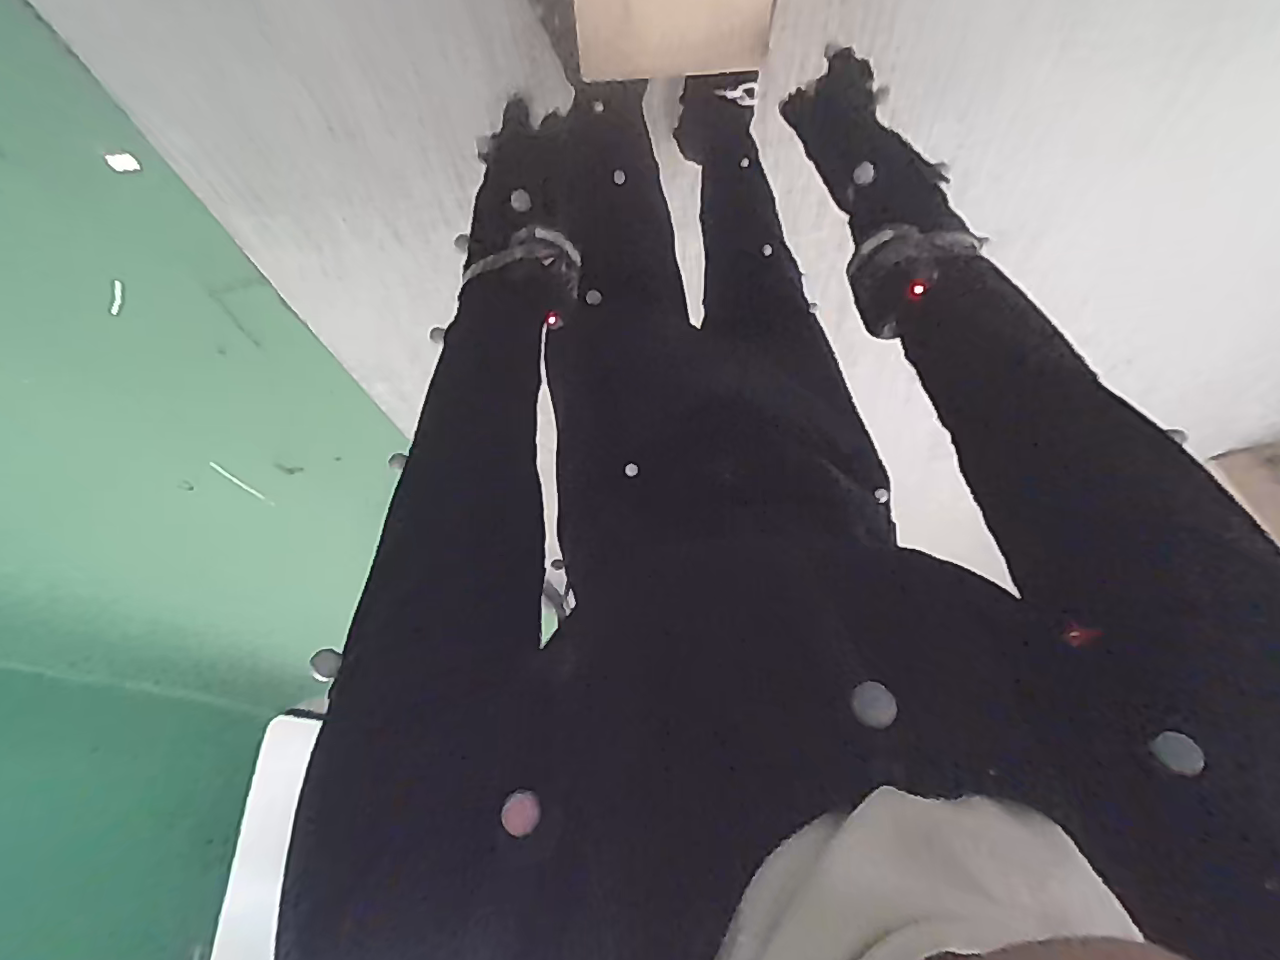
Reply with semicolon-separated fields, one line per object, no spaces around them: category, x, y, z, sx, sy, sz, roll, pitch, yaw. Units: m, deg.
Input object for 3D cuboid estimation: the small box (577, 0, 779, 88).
small box;0.027;-0.487;0.484;0.179;0.176;0.168;-4;150;-1
